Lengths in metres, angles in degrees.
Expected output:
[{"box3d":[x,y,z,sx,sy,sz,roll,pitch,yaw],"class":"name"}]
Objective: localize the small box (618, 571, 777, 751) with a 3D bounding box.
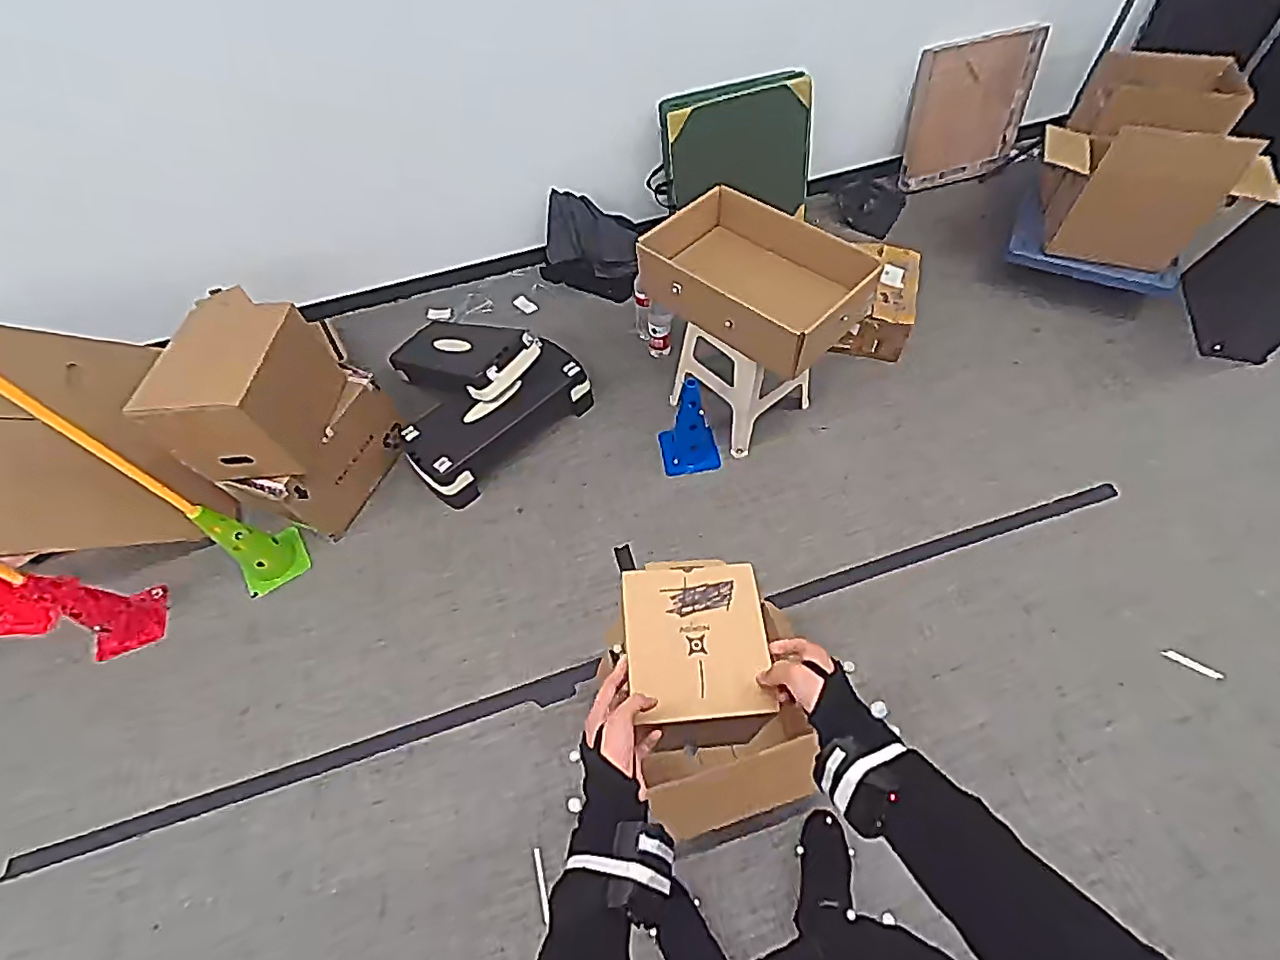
[{"box3d":[0.059,0.237,0.704,0.168,0.176,0.179,-2,54,-6],"class":"small box"}]
